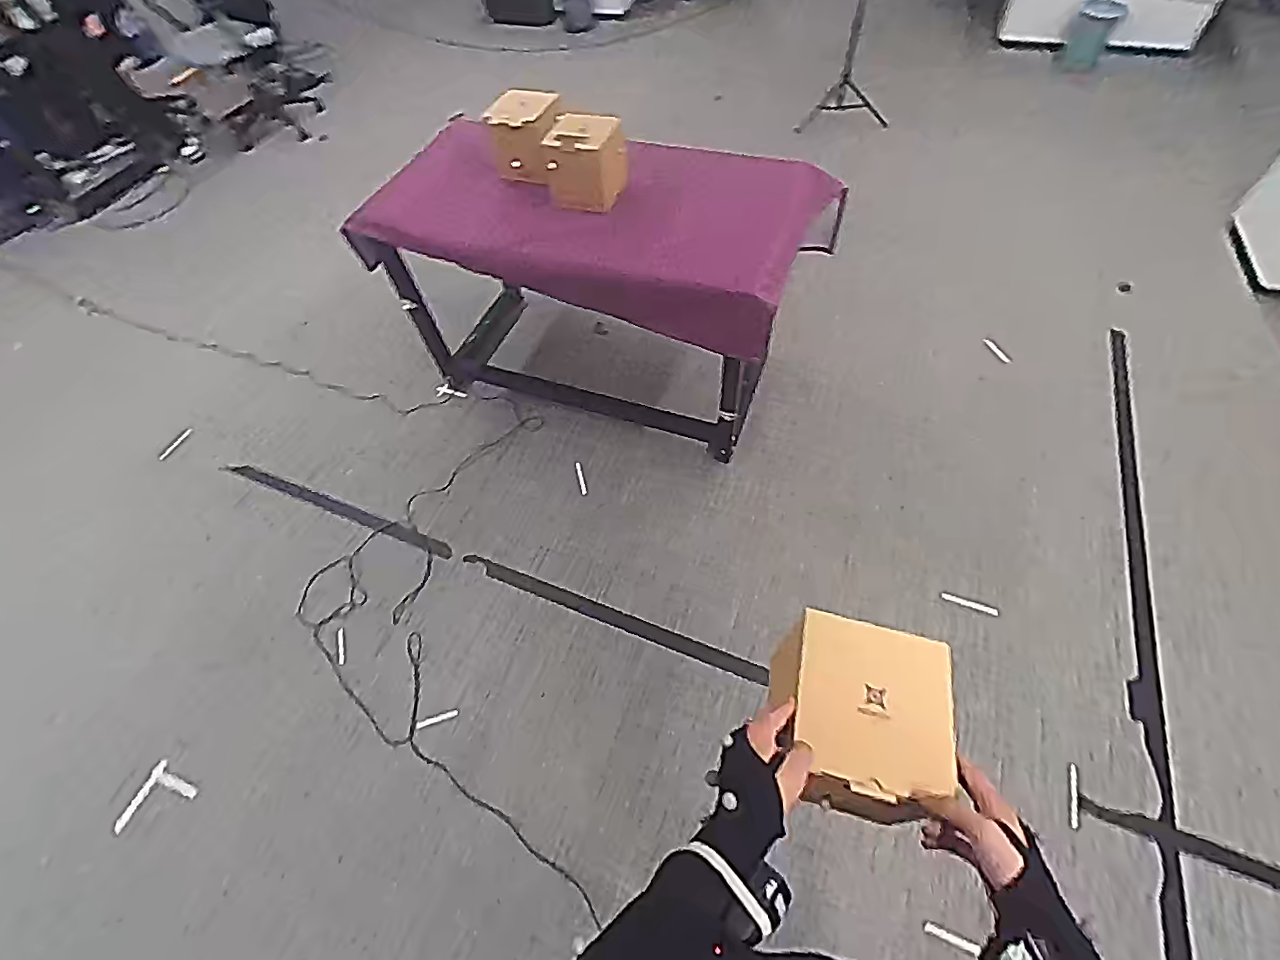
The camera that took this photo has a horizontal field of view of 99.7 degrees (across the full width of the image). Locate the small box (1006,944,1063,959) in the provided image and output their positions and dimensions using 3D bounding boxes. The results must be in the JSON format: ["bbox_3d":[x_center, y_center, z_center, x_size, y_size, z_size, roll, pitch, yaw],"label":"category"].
[{"bbox_3d":[0.835,1.040,1.047,0.179,0.176,0.168,15,60,13],"label":"small box"}]

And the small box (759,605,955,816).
[{"bbox_3d":[0.246,0.279,0.646,0.168,0.176,0.179,12,56,7],"label":"small box"}]

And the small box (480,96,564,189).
[{"bbox_3d":[-0.336,-0.990,1.587,0.168,0.176,0.179,14,60,14],"label":"small box"}]
